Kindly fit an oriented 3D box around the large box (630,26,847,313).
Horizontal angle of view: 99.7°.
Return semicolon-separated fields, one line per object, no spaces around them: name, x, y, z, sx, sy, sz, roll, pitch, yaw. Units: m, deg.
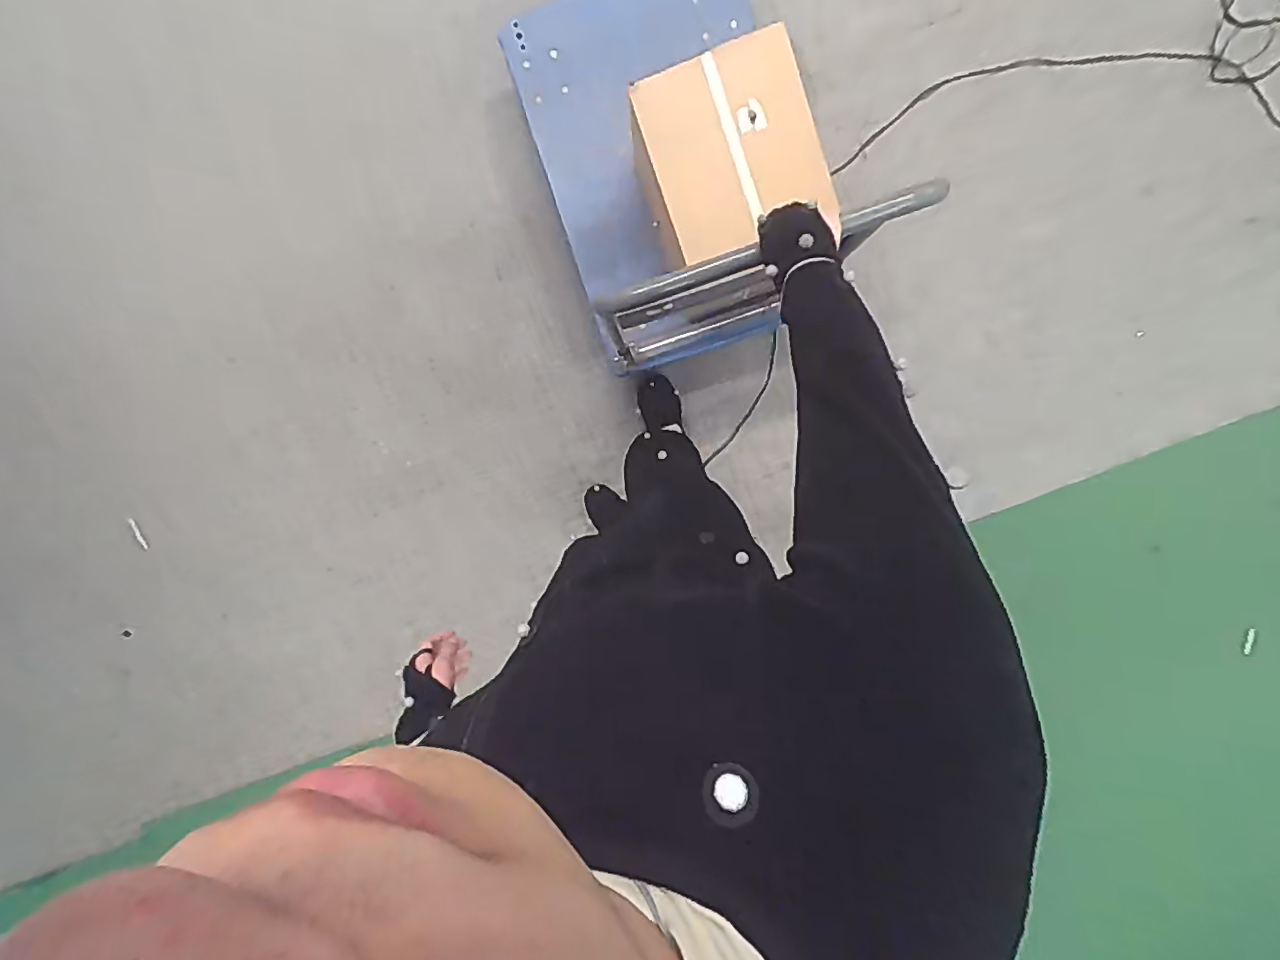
large box;0.198;-0.633;1.187;0.320;0.320;0.408;-20;97;3
